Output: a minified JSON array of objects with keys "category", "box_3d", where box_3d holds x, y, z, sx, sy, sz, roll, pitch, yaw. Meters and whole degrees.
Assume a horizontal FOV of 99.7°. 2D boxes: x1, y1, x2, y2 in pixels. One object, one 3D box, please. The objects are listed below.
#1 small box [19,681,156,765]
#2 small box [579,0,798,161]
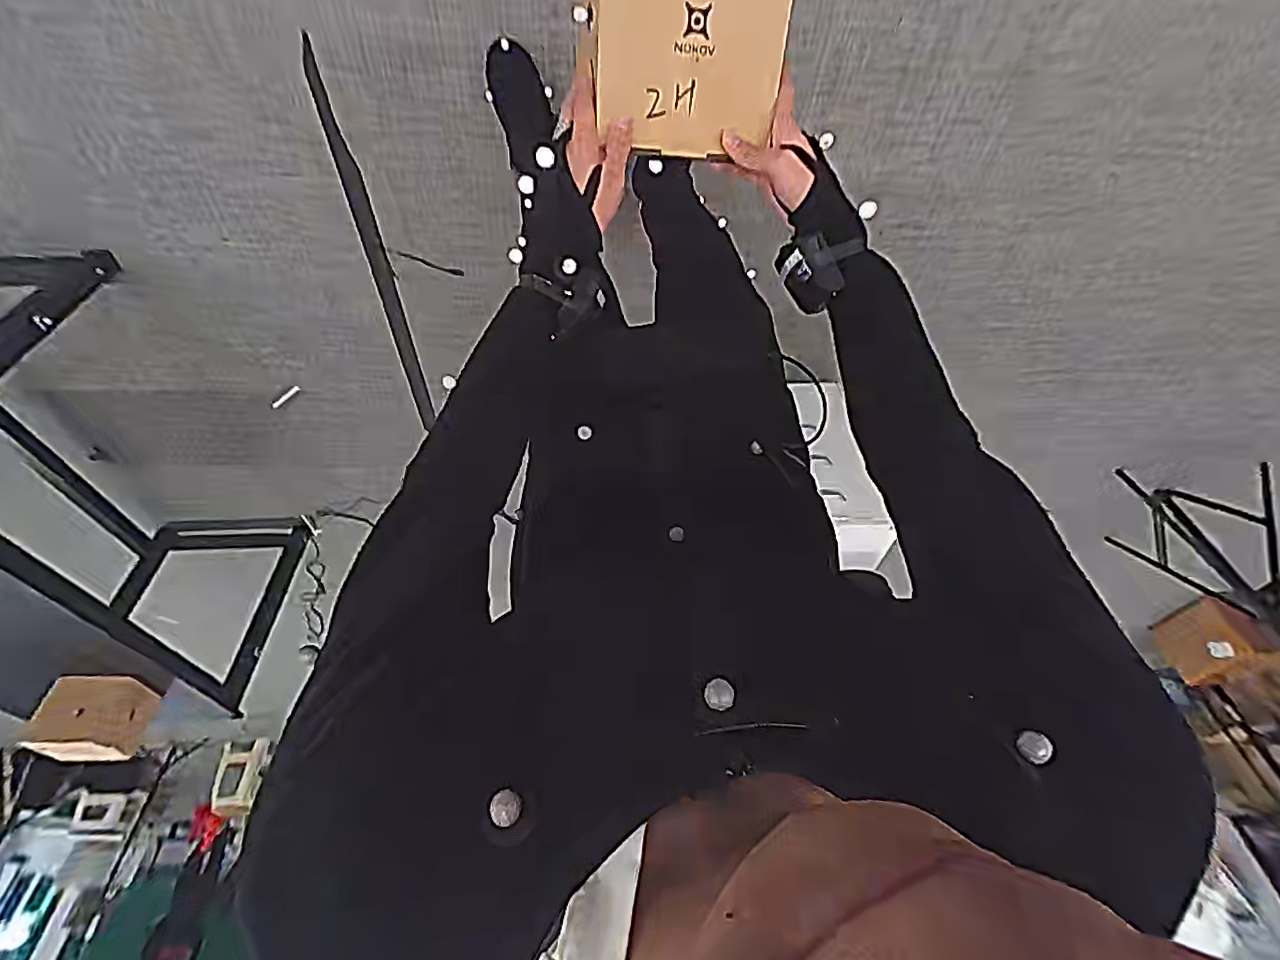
[{"category":"small box","box_3d":[-1.454,0.647,1.445,0.179,0.176,0.168,2,139,-7]},{"category":"small box","box_3d":[0.032,-0.411,0.514,0.168,0.176,0.179,-3,121,-12]}]
